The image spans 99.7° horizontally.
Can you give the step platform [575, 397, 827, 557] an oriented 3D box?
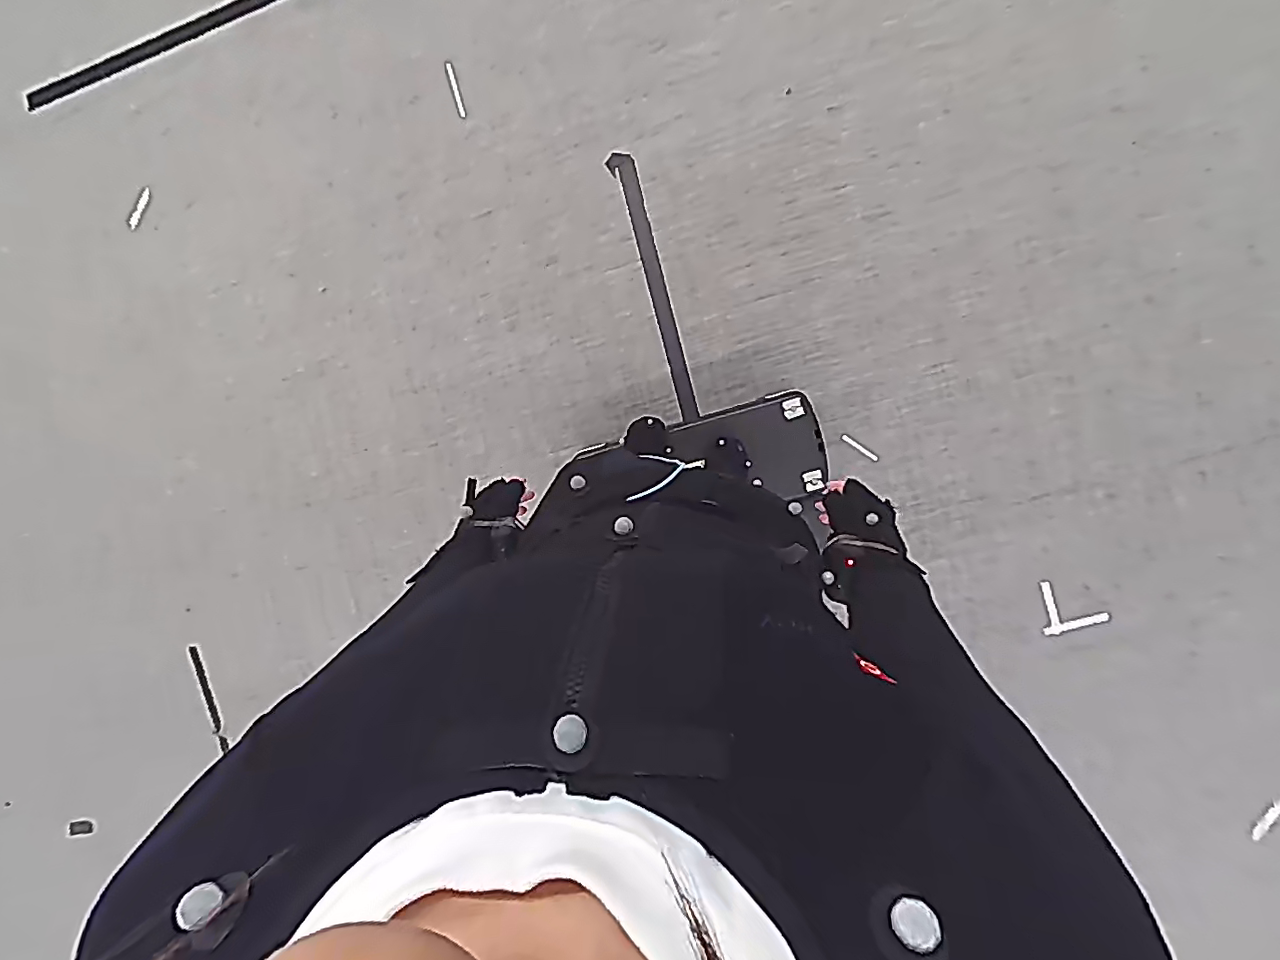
[{"bbox_3d":[0.162,-0.007,1.523,0.684,0.204,0.286,-17,95,7],"label":"step platform"}]
